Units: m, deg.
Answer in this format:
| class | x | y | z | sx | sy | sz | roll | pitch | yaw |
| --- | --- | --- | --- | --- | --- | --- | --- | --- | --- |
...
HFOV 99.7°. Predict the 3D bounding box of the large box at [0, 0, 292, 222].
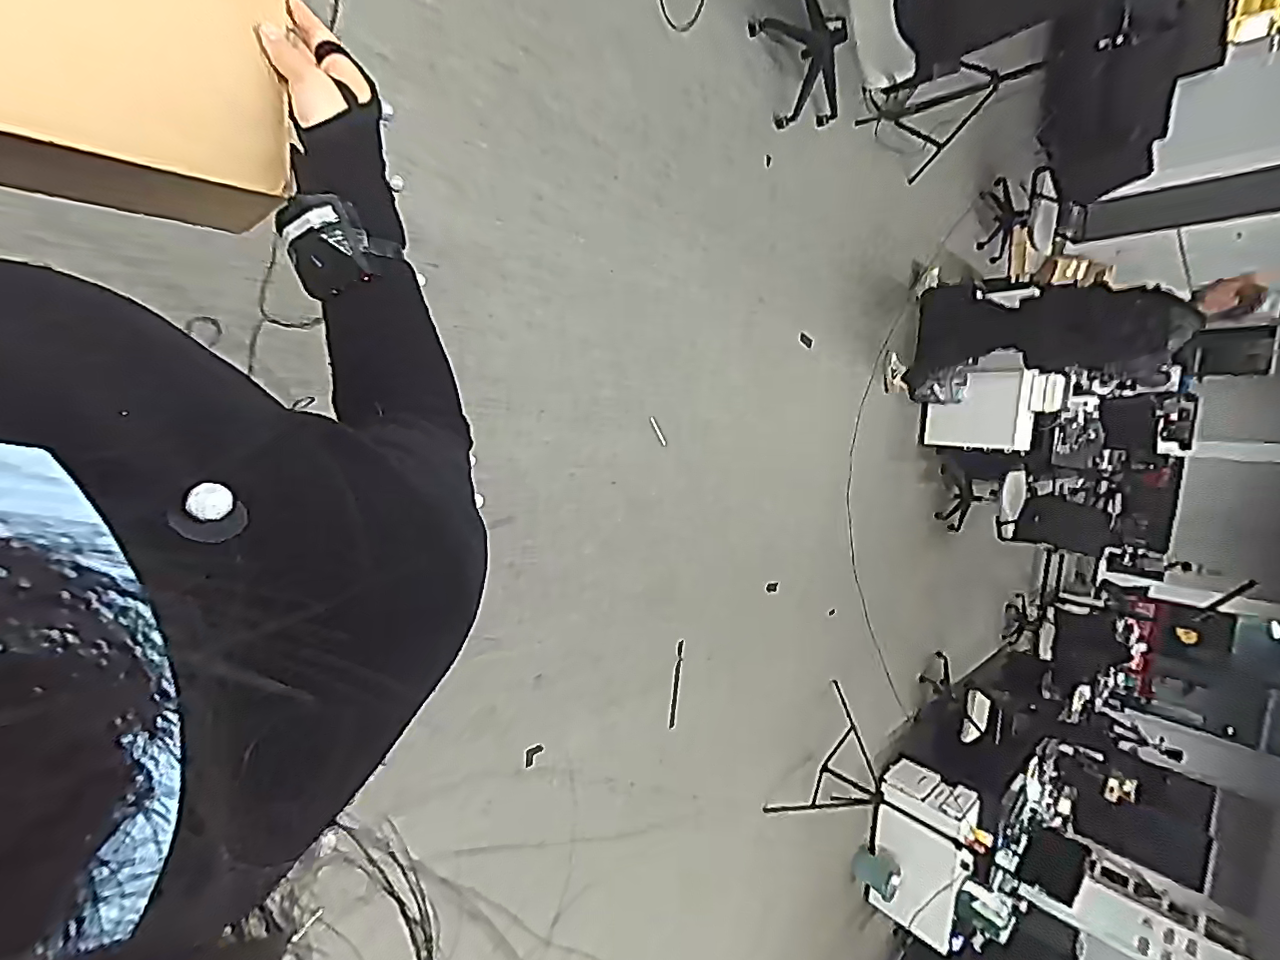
| class | x | y | z | sx | sy | sz | roll | pitch | yaw |
| --- | --- | --- | --- | --- | --- | --- | --- | --- | --- |
| large box | -0.521 | -0.408 | 0.397 | 0.408 | 0.320 | 0.320 | -5 | 106 | -41 |
